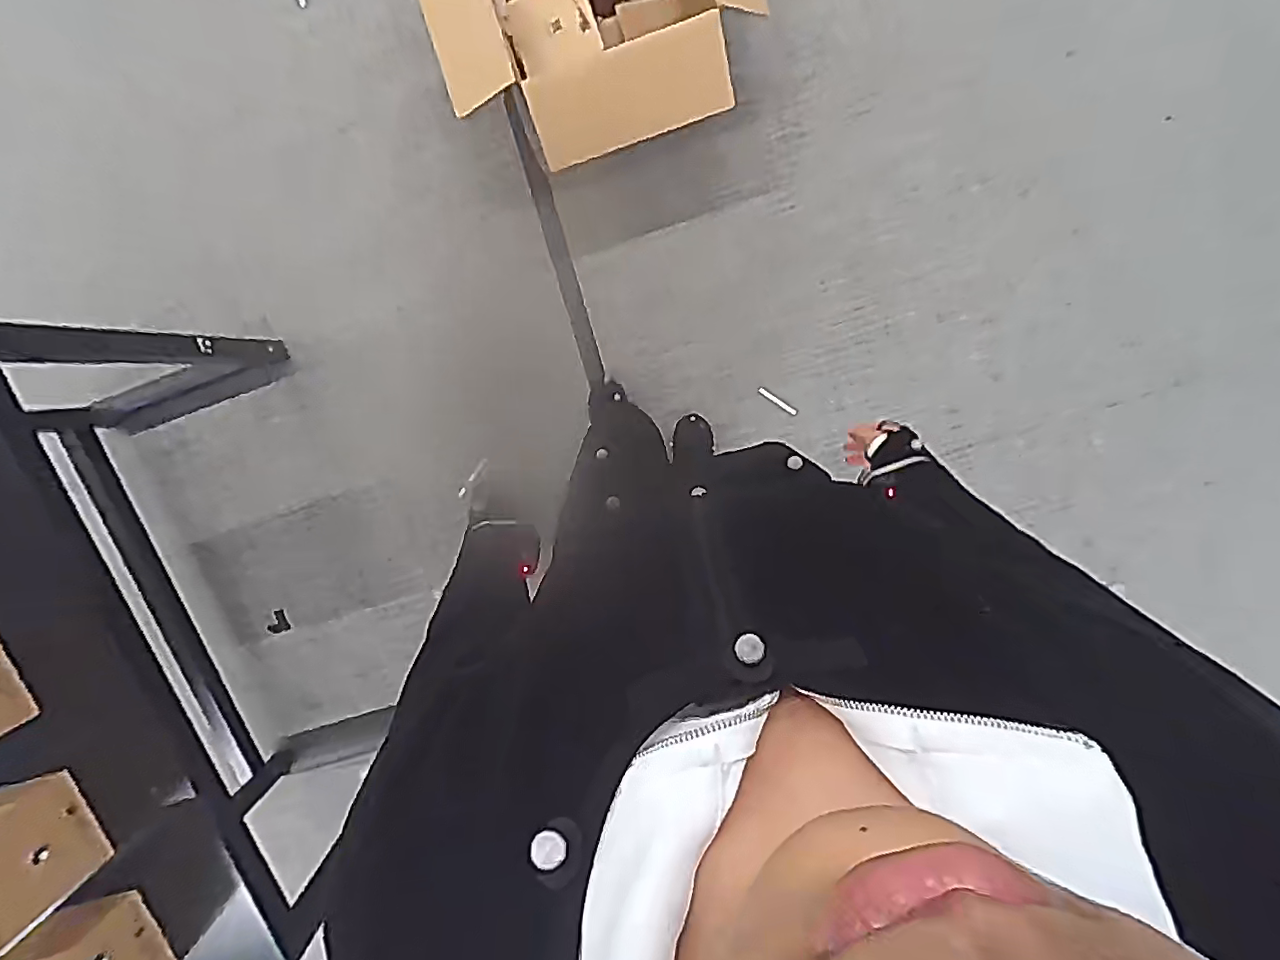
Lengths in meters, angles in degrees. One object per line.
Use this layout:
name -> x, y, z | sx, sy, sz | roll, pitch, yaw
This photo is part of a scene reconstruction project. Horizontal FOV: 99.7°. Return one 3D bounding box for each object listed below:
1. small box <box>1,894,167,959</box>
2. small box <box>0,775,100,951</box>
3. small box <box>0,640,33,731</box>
small box -> -0.909, 0.804, 0.855 | 0.179, 0.176, 0.168 | -17, 99, 6
small box -> -0.980, 0.580, 0.810 | 0.179, 0.176, 0.168 | -17, 100, 5
small box -> -1.049, 0.328, 0.761 | 0.179, 0.176, 0.168 | -17, 101, 4
